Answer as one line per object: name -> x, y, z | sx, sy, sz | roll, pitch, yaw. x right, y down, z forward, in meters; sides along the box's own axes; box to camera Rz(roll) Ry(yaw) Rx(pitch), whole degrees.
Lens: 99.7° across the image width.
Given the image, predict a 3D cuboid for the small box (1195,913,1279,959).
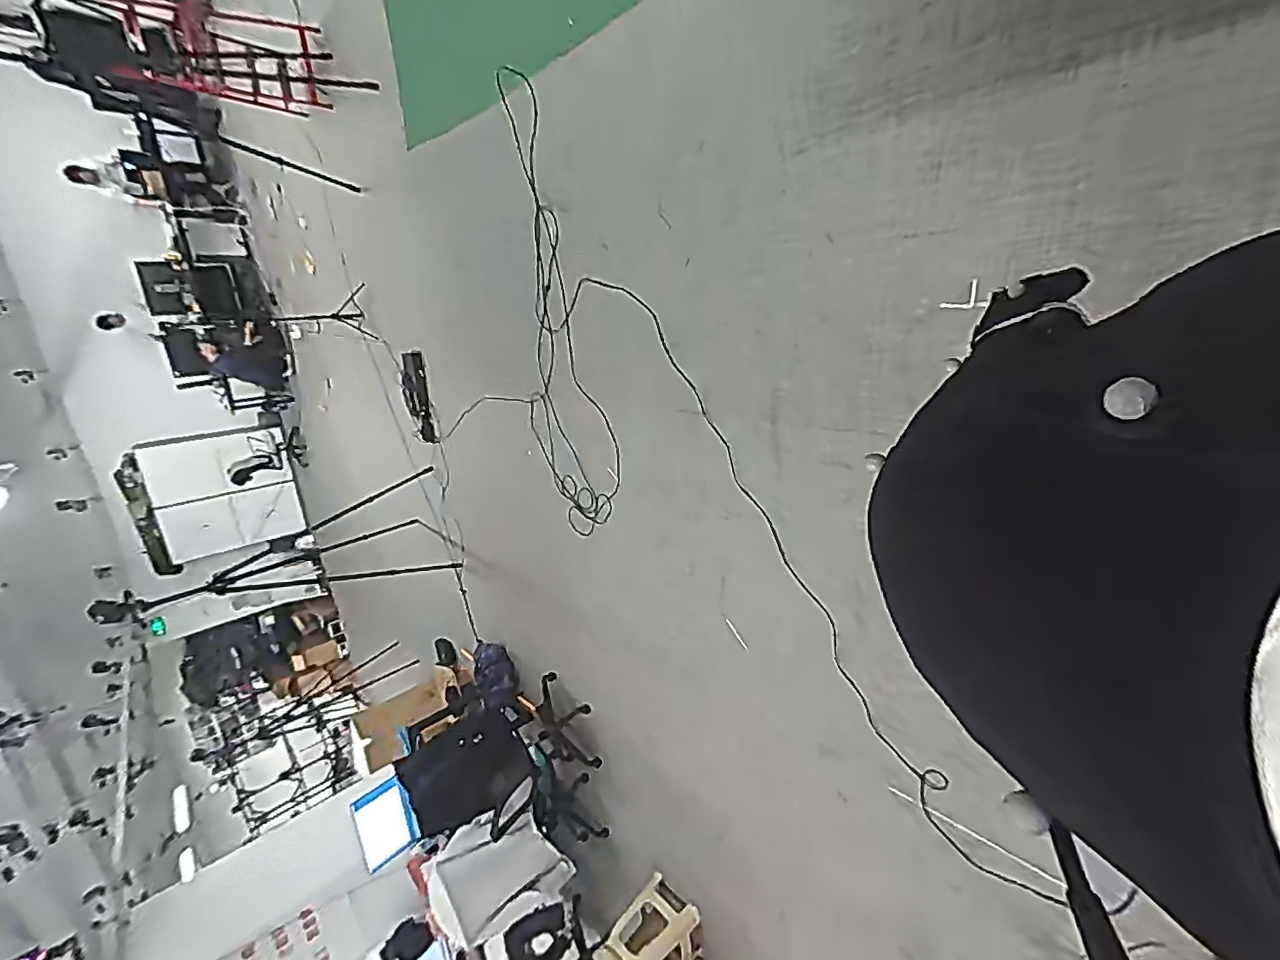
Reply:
small box -> 1.174, 0.987, 1.020 | 0.168, 0.176, 0.179 | 14, 115, 45
